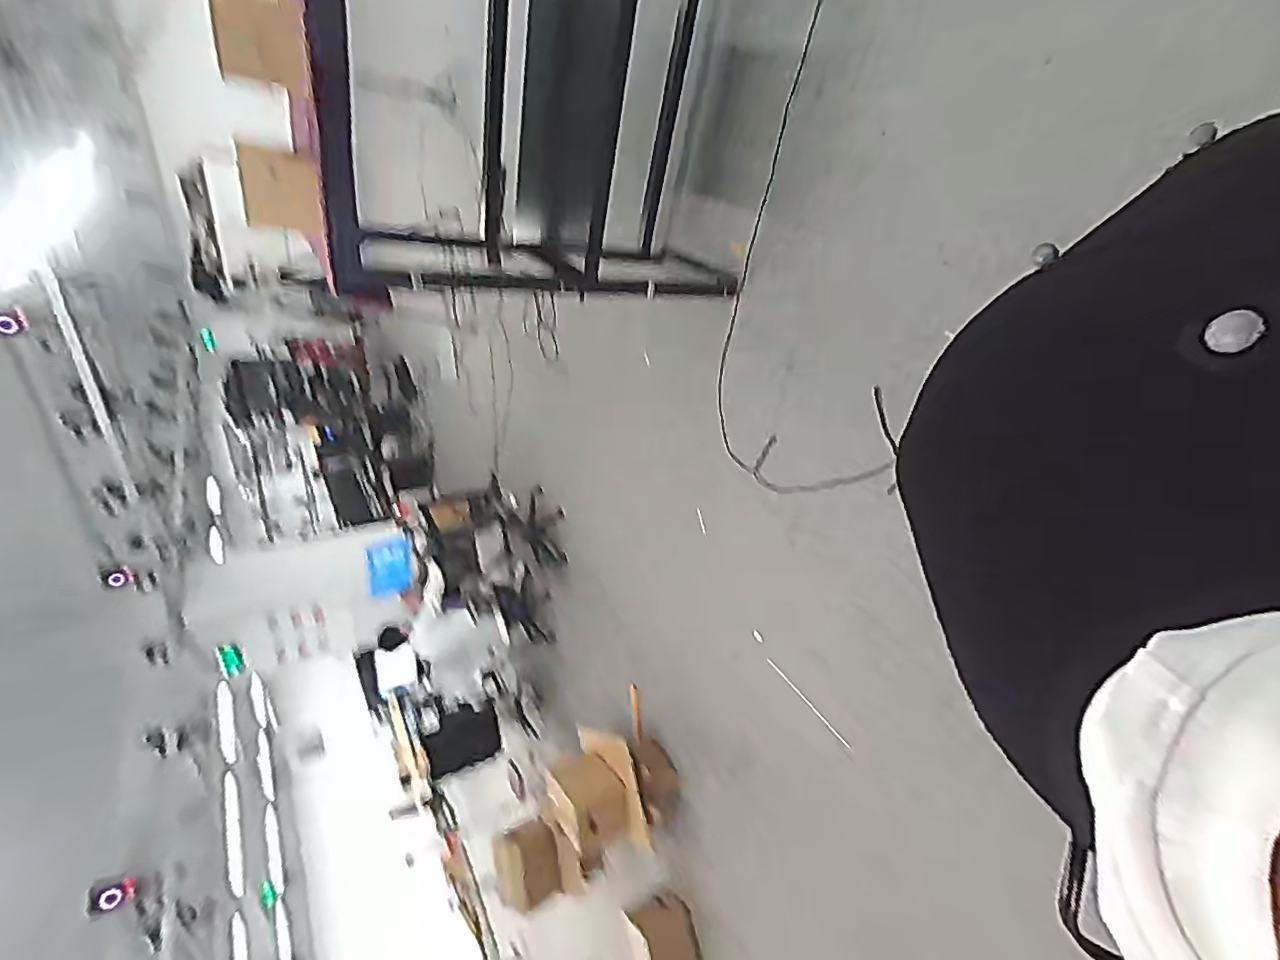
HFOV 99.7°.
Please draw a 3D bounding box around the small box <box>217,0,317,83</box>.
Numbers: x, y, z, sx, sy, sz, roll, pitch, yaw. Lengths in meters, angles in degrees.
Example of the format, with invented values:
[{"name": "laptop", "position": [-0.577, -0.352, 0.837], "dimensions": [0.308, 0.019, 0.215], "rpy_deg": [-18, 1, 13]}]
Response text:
[{"name": "small box", "position": [-0.832, -1.015, 1.207], "dimensions": [0.168, 0.176, 0.179], "rpy_deg": [50, 138, 38]}]
